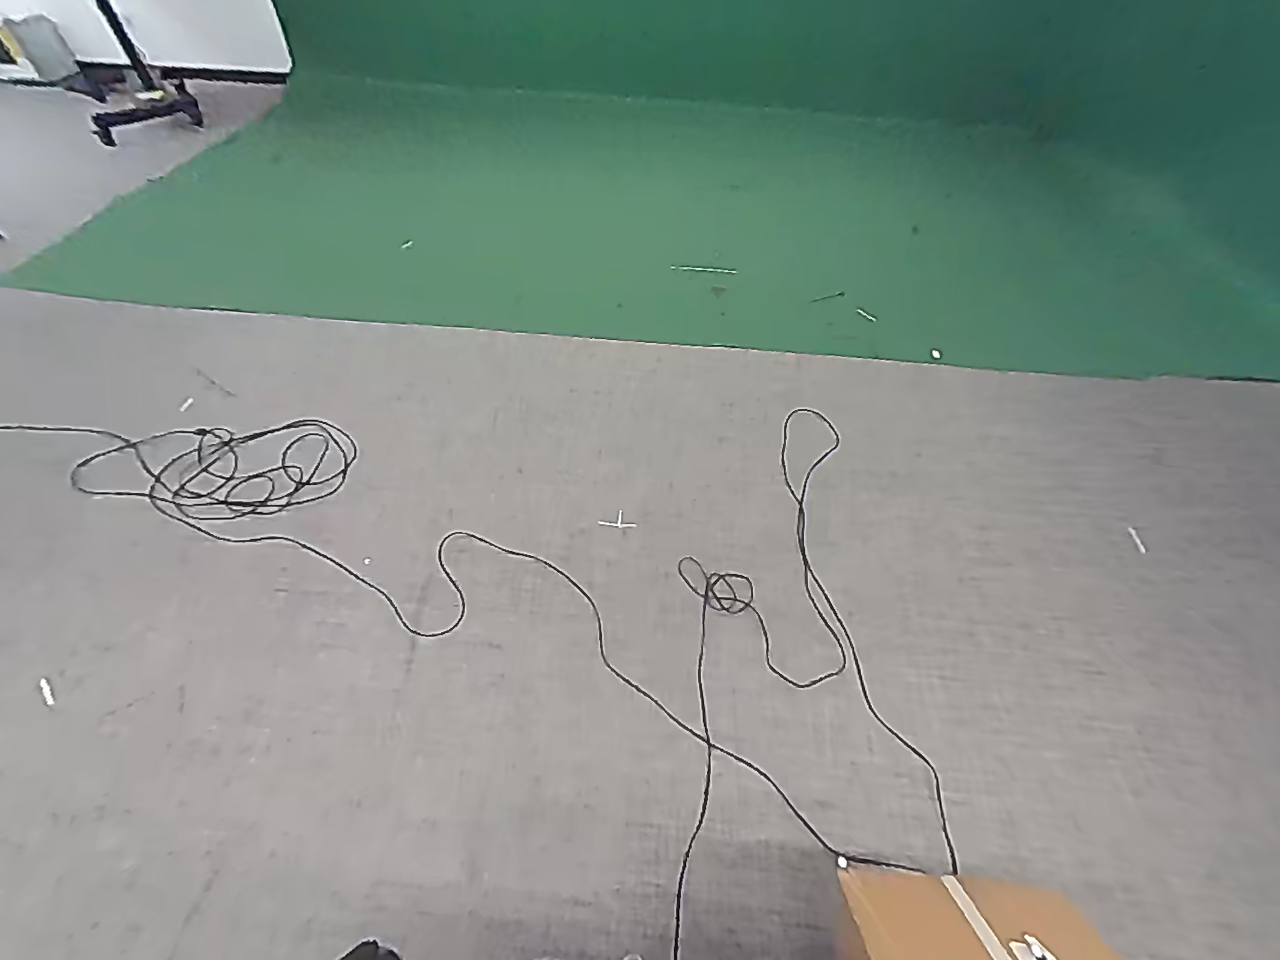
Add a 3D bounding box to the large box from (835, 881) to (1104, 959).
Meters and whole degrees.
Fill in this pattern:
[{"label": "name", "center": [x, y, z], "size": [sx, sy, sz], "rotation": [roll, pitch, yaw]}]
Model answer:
[{"label": "large box", "center": [0.428, 0.753, 0.599], "size": [0.320, 0.408, 0.320], "rotation": [3, 90, 4]}]
